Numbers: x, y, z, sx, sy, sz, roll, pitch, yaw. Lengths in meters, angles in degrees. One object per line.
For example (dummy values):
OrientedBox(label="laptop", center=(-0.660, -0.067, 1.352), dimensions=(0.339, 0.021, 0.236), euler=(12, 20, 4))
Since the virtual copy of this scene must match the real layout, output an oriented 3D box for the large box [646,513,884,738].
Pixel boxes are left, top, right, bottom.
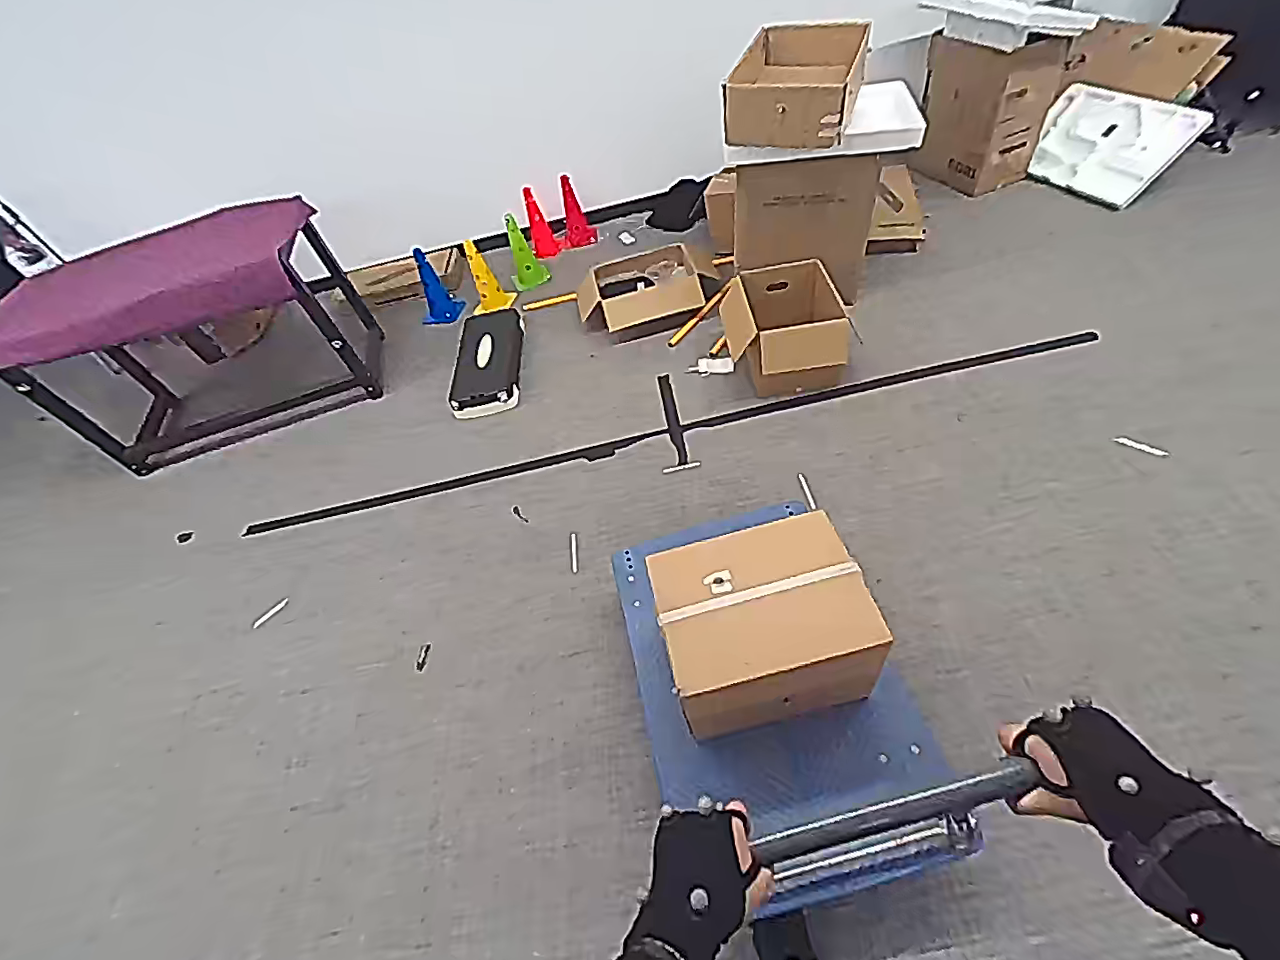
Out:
OrientedBox(label="large box", center=(0.262, 0.330, 1.205), dimensions=(0.408, 0.320, 0.320), euler=(-16, 48, 1))
